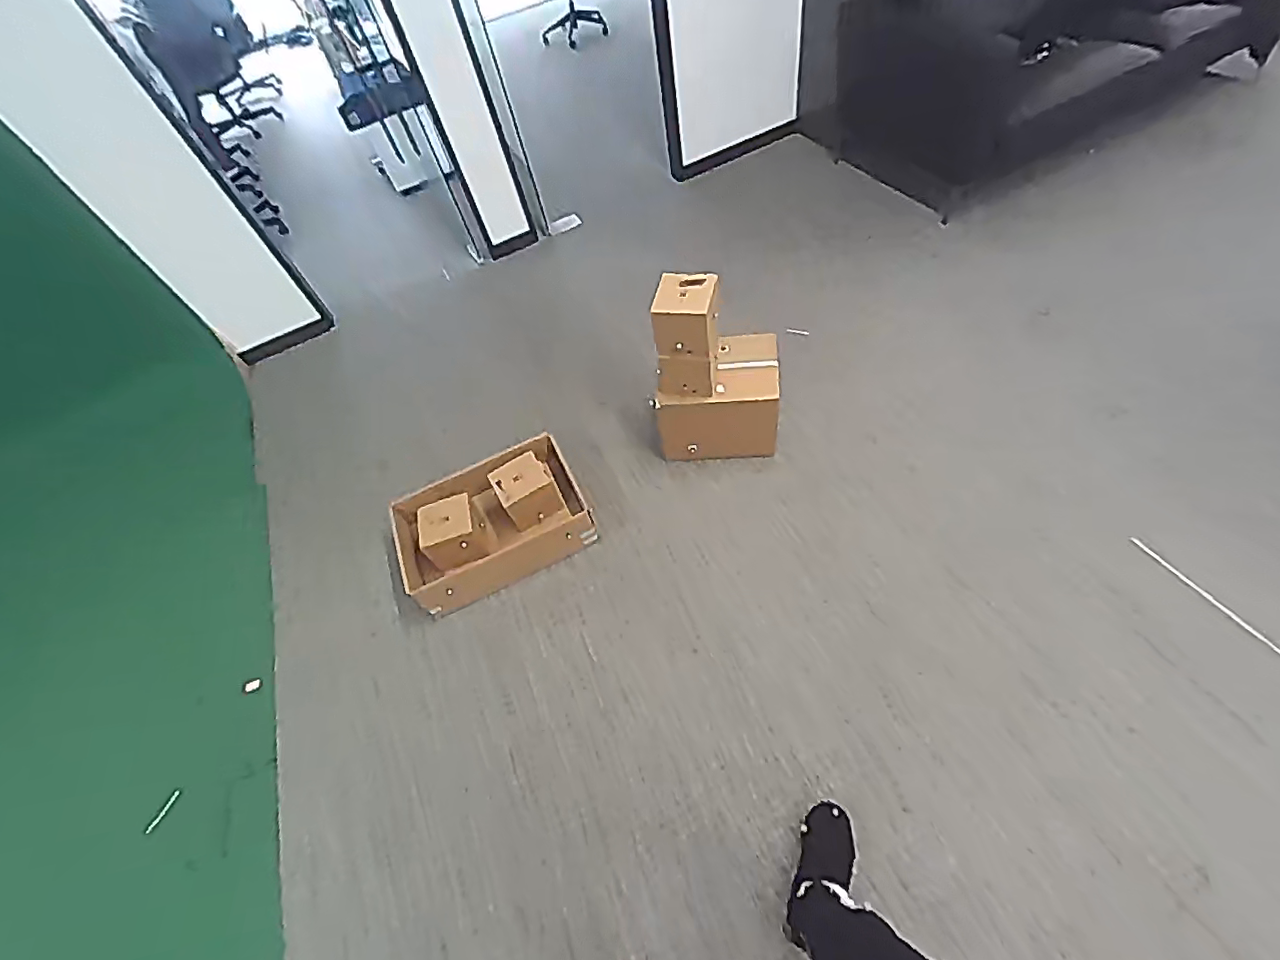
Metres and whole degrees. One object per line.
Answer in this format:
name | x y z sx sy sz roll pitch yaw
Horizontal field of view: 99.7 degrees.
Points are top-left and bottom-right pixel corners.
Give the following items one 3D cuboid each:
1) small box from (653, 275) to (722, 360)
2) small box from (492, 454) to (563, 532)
small box | 0.148 -0.484 1.606 0.168 0.176 0.179 7 58 16
small box | -0.380 0.047 1.866 0.179 0.176 0.168 -30 55 -9
